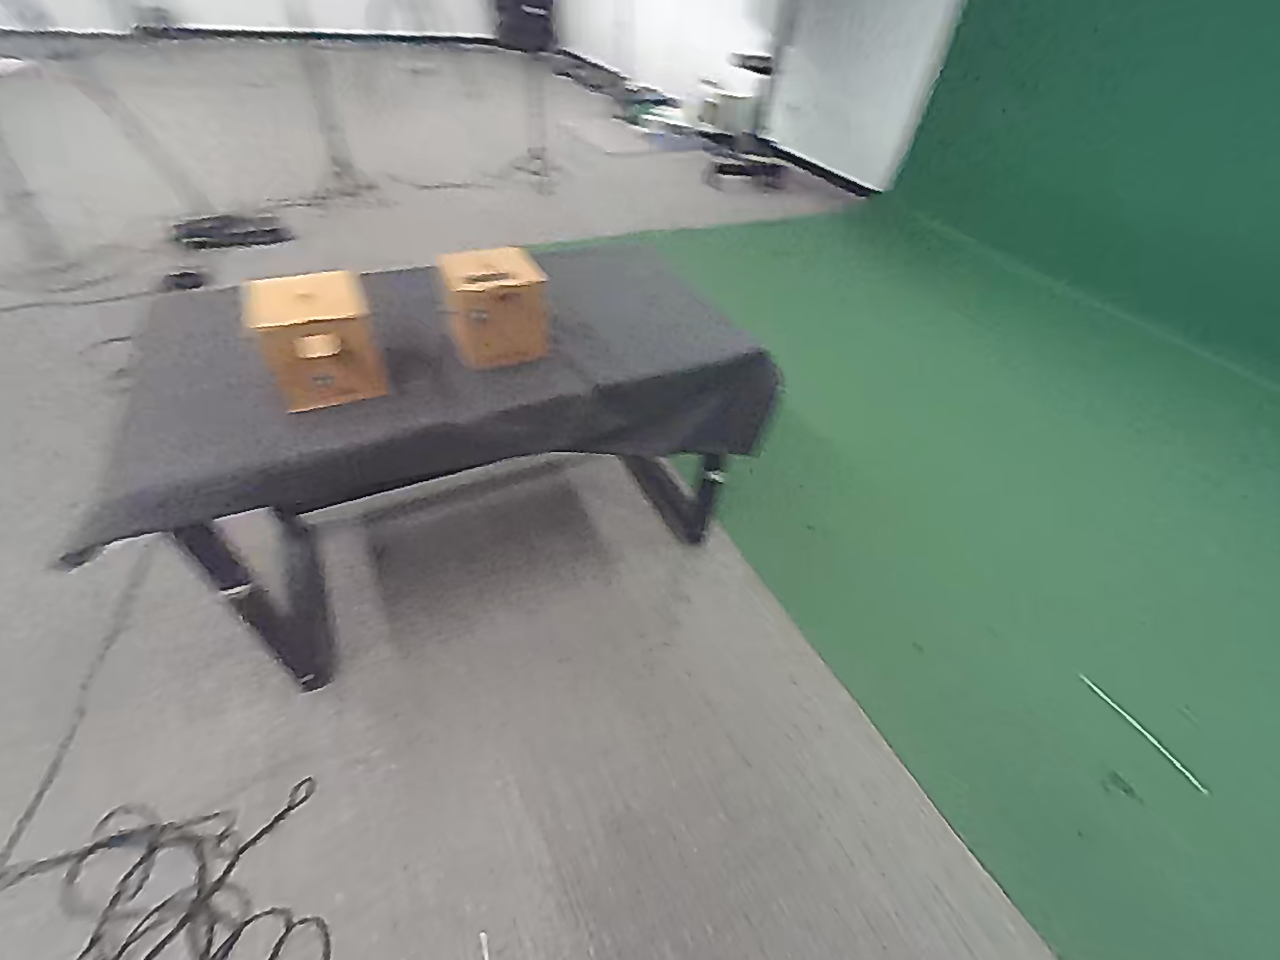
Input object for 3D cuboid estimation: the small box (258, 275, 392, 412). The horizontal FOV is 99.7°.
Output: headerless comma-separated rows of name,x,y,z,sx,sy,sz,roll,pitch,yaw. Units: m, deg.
small box,-0.567,-0.249,0.982,0.168,0.176,0.179,-17,50,-22
